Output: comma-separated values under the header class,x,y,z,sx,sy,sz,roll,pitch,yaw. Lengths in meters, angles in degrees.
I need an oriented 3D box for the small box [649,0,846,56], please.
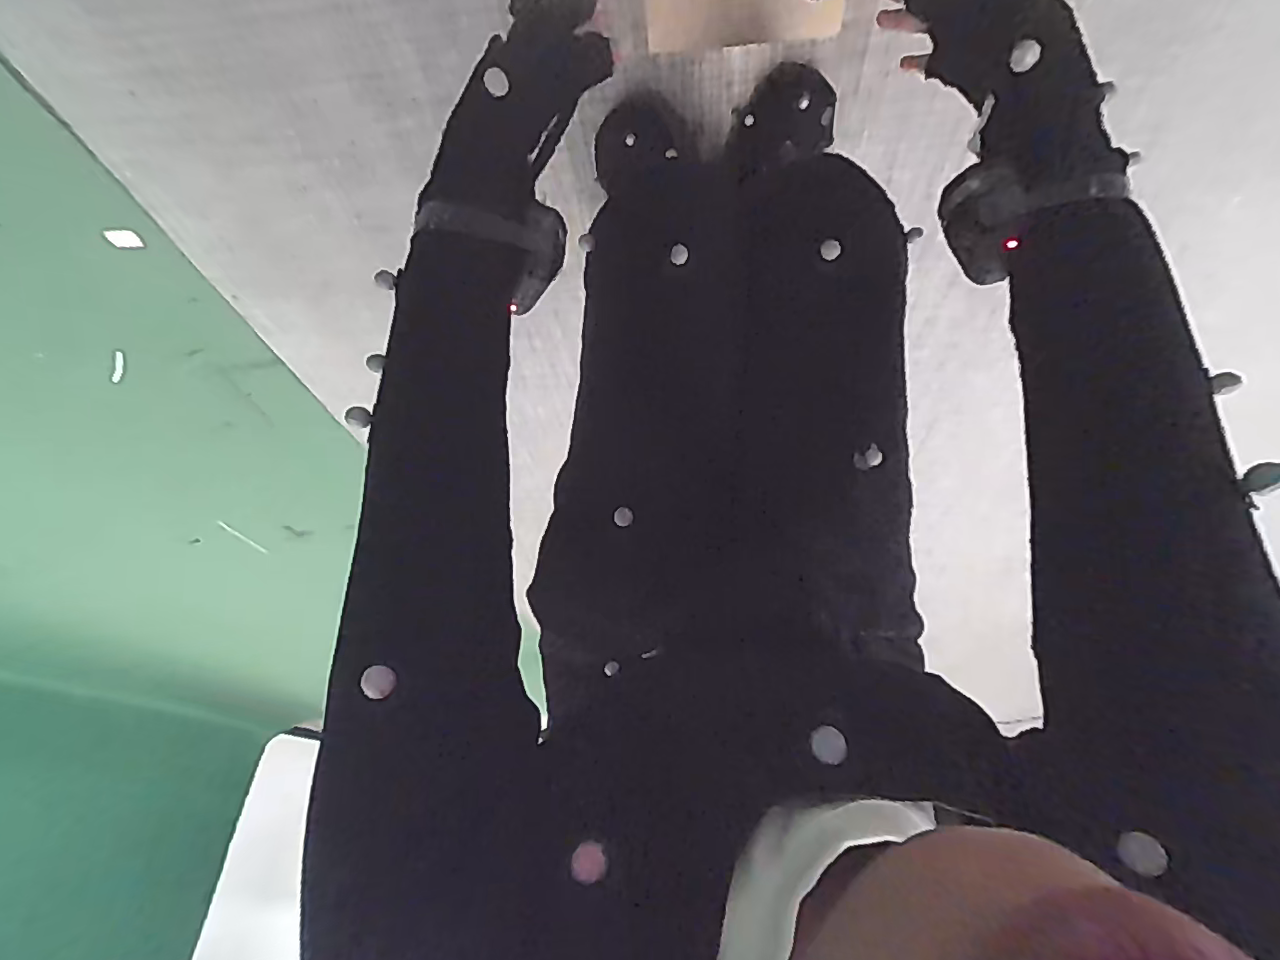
class,x,y,z,sx,sy,sz,roll,pitch,yaw
small box,0.092,-0.515,0.480,0.179,0.176,0.168,-2,147,5
